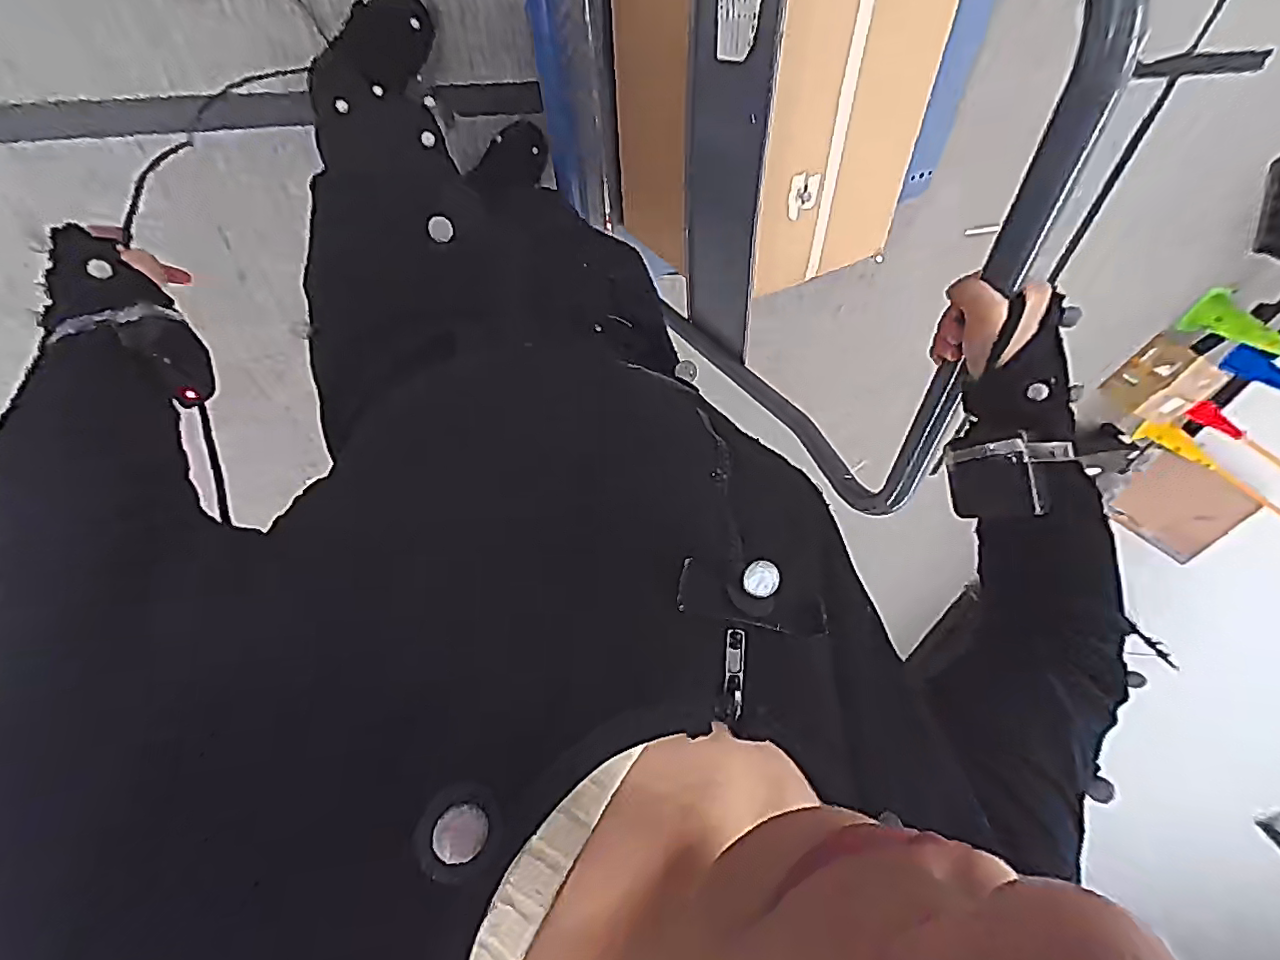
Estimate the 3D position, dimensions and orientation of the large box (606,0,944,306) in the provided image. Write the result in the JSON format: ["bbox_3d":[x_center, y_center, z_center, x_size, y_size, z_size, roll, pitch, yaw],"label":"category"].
[{"bbox_3d":[0.162,-0.537,0.771,0.320,0.320,0.408,-23,142,-17],"label":"large box"}]
